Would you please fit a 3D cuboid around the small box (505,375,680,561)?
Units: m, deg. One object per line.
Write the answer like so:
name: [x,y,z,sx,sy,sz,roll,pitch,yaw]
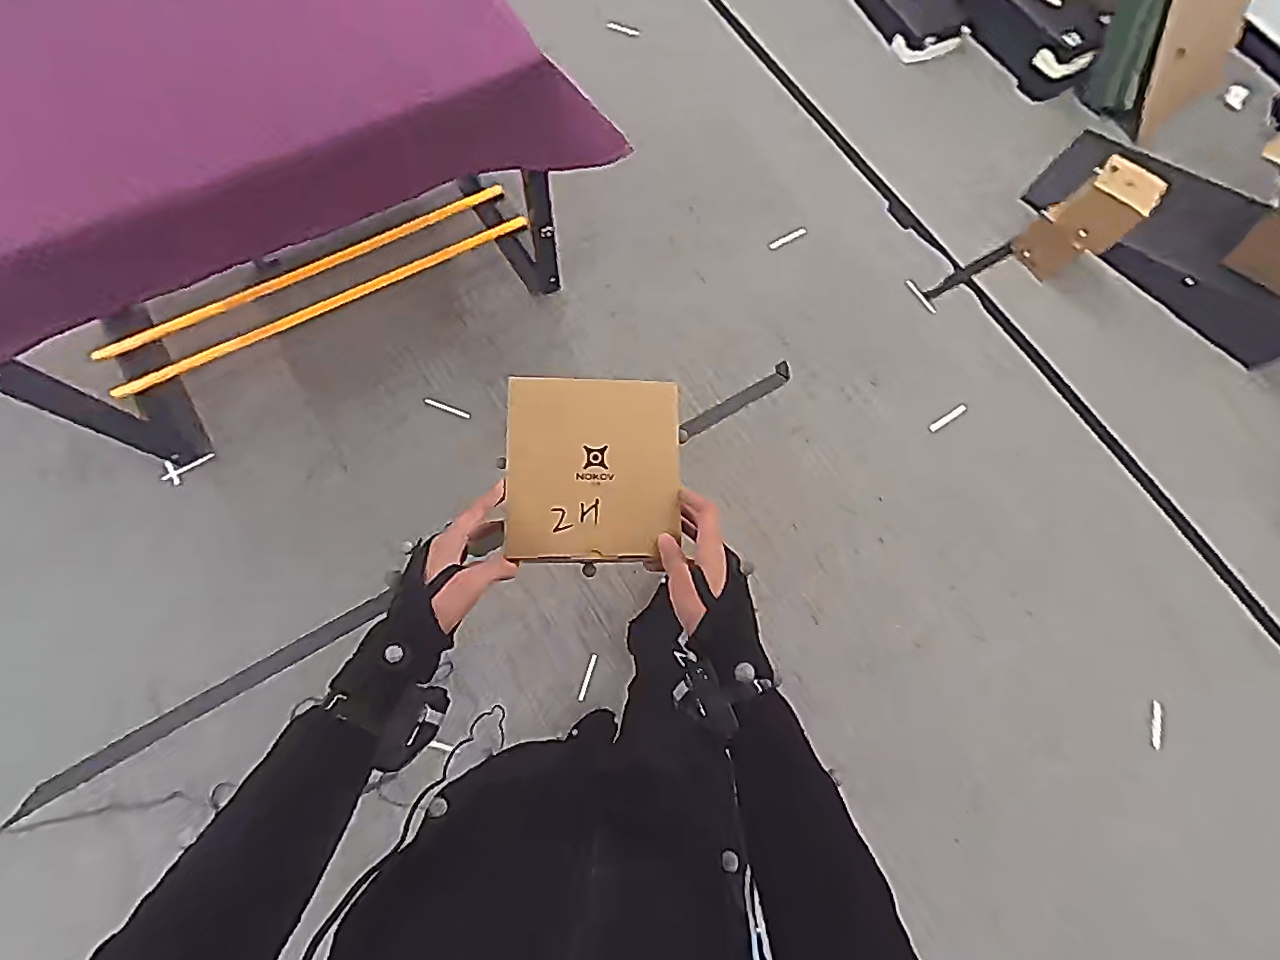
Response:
small box: [-0.053,-0.002,0.595,0.168,0.176,0.179,0,81,-7]
